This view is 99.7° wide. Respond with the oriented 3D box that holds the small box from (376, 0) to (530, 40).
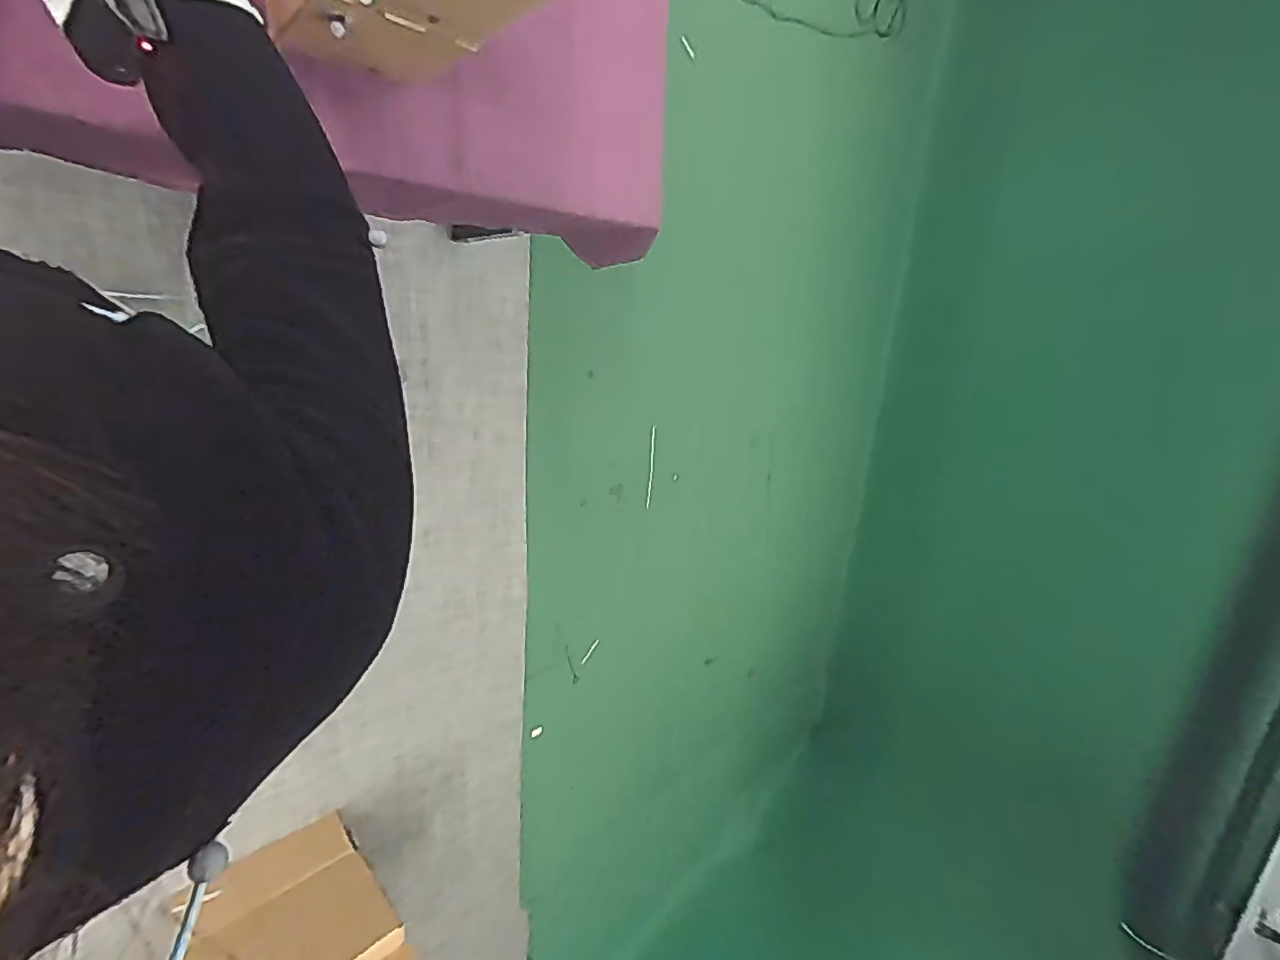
[{"bbox_3d":[-0.178,-0.531,0.470,0.168,0.176,0.179,-17,113,-44],"label":"small box"}]
